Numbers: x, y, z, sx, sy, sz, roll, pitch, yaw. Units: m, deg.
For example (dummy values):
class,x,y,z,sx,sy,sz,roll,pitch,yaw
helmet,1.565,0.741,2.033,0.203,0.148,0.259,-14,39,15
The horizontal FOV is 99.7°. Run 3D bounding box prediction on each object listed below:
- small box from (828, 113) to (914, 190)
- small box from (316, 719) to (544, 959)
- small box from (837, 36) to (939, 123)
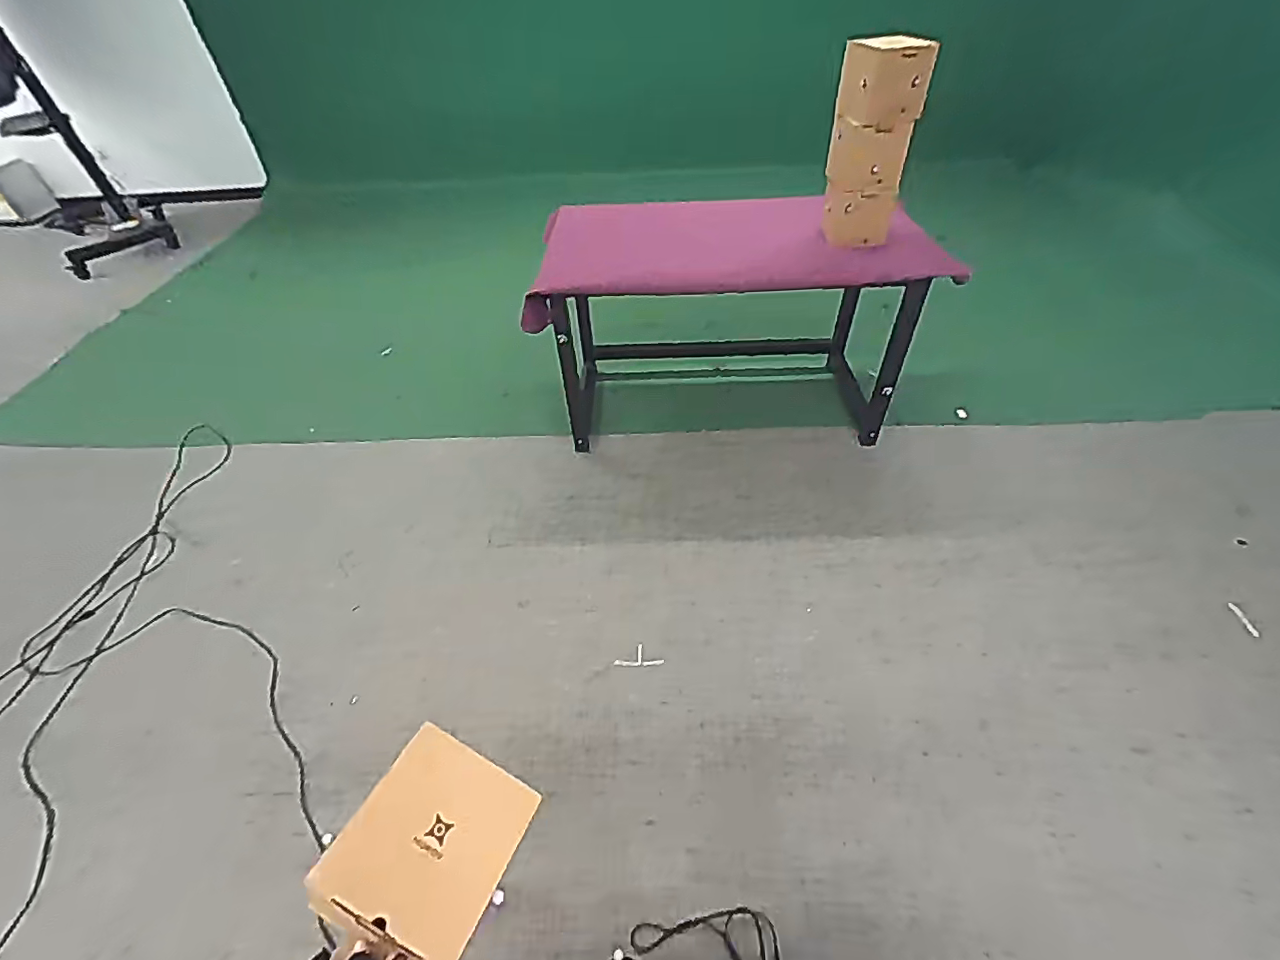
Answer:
class,x,y,z,sx,sy,sz,roll,pitch,yaw
small box,0.663,-0.964,1.579,0.168,0.176,0.179,-4,46,1
small box,-0.242,0.421,0.628,0.168,0.176,0.179,32,44,1
small box,0.661,-1.079,1.464,0.168,0.176,0.179,-11,45,-8
